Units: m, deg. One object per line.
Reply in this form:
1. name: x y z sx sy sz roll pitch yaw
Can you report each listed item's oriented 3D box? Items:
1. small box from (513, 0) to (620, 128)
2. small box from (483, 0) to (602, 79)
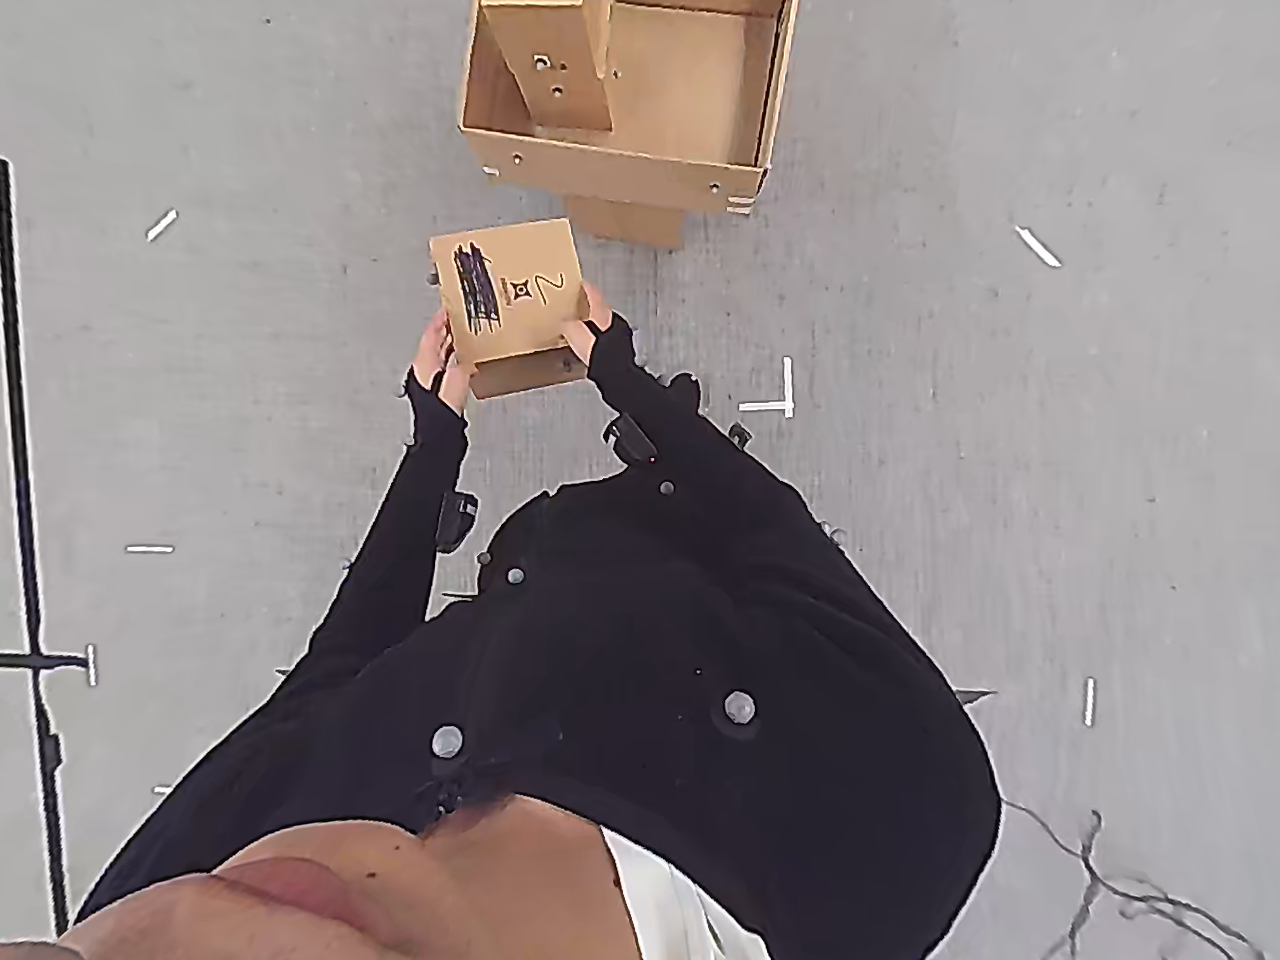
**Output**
1. small box: -0.141 -0.840 1.085 0.179 0.176 0.168 6 94 2
2. small box: -0.160 -0.833 0.922 0.168 0.176 0.179 4 93 4
